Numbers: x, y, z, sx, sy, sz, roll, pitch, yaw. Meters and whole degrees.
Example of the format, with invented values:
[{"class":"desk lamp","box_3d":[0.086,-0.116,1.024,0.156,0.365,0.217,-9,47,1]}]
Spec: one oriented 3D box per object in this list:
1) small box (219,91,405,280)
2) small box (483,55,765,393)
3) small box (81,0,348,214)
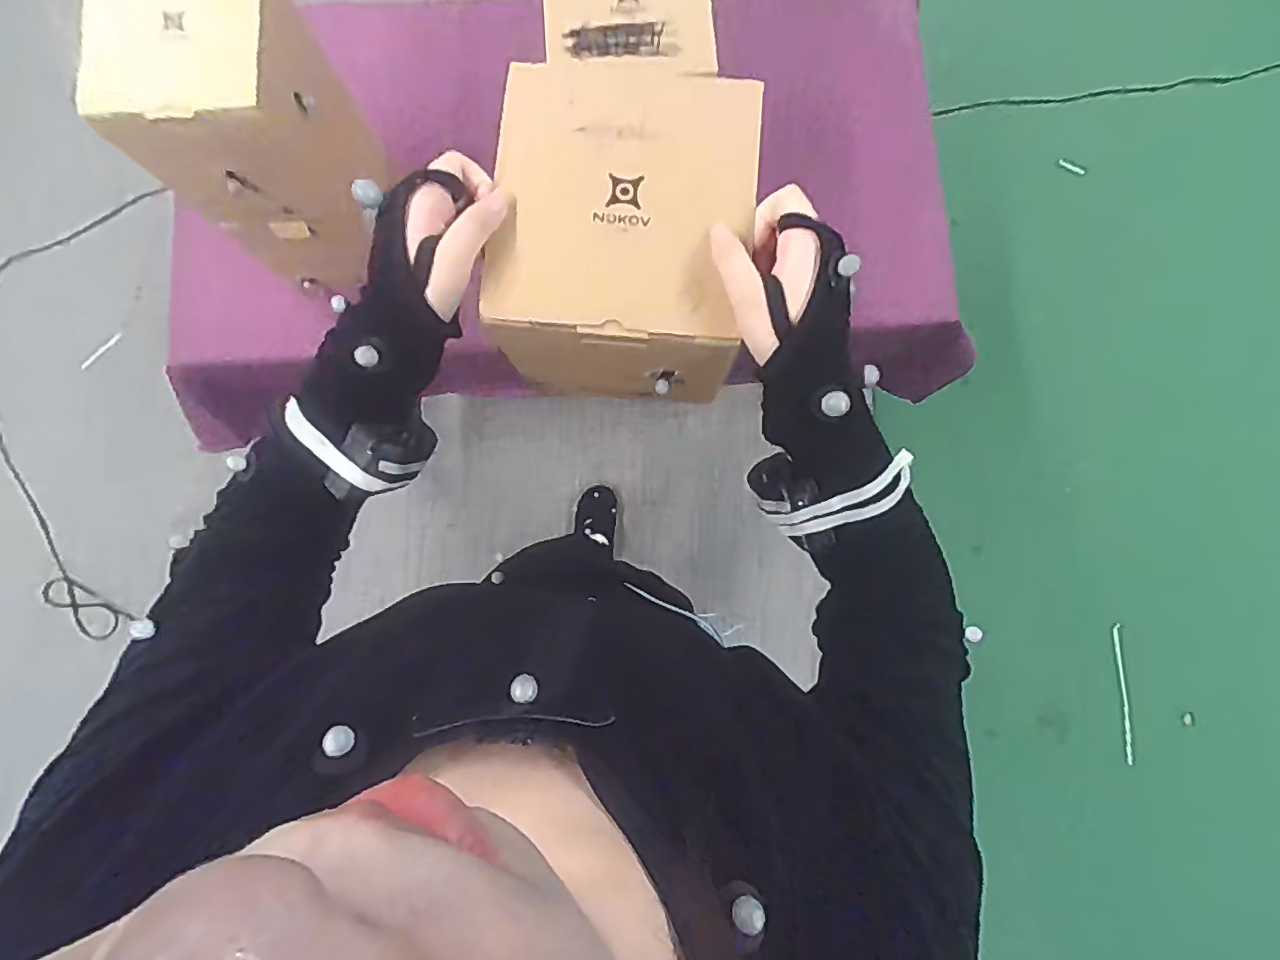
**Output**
[{"class":"small box","box_3d":[-0.441,-0.393,0.753,0.168,0.176,0.179,-4,82,-3]},{"class":"small box","box_3d":[-0.008,-0.173,0.418,0.168,0.176,0.179,5,85,1]},{"class":"small box","box_3d":[-0.440,-0.413,0.589,0.168,0.176,0.179,-2,84,-3]}]
